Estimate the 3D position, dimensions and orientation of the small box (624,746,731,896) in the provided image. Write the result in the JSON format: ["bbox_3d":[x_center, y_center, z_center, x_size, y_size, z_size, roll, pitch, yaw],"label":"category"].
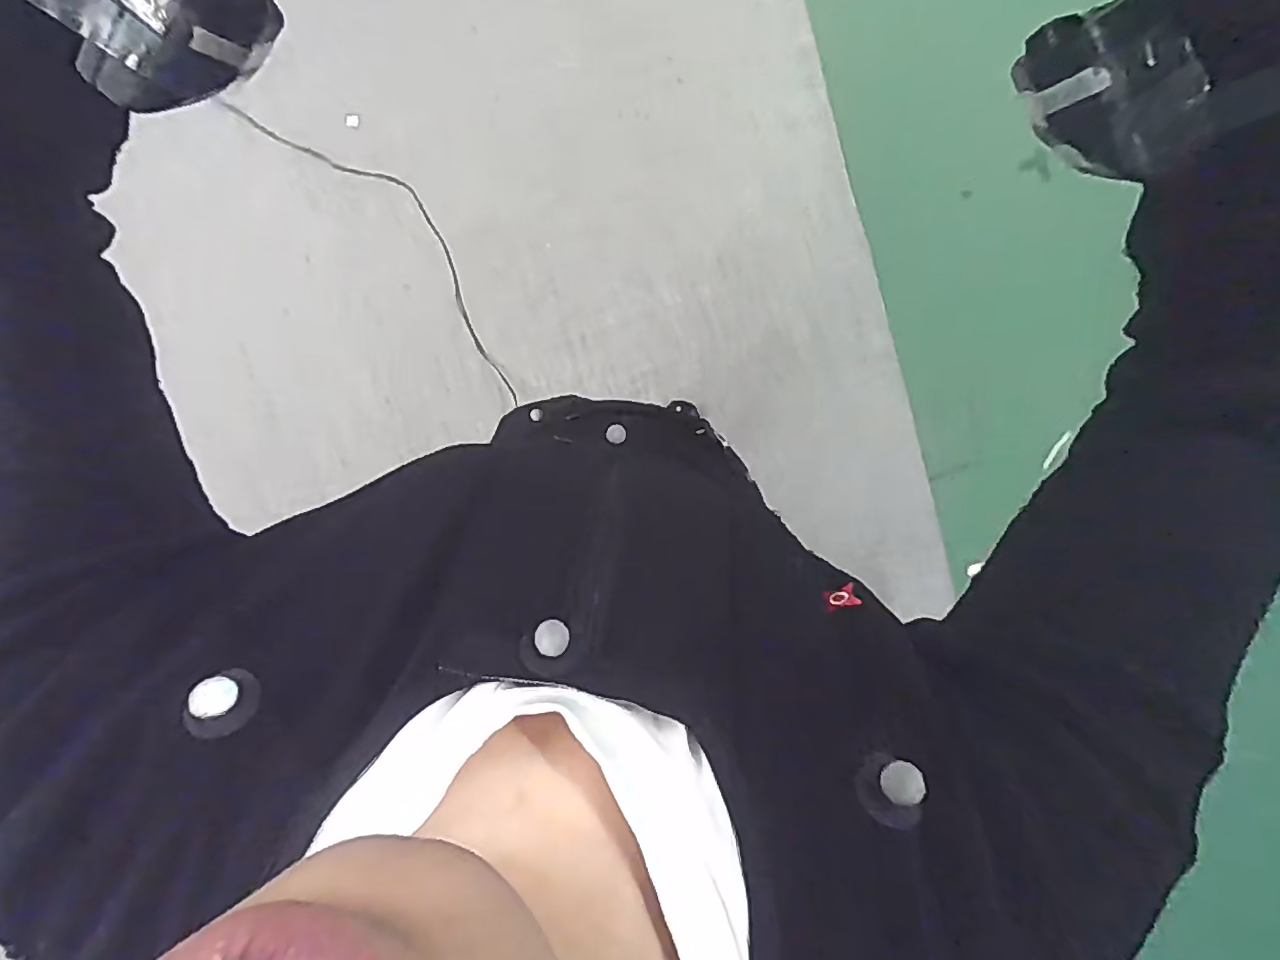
[{"bbox_3d":[0.068,0.631,1.024,0.168,0.176,0.179,-11,98,5],"label":"small box"}]
